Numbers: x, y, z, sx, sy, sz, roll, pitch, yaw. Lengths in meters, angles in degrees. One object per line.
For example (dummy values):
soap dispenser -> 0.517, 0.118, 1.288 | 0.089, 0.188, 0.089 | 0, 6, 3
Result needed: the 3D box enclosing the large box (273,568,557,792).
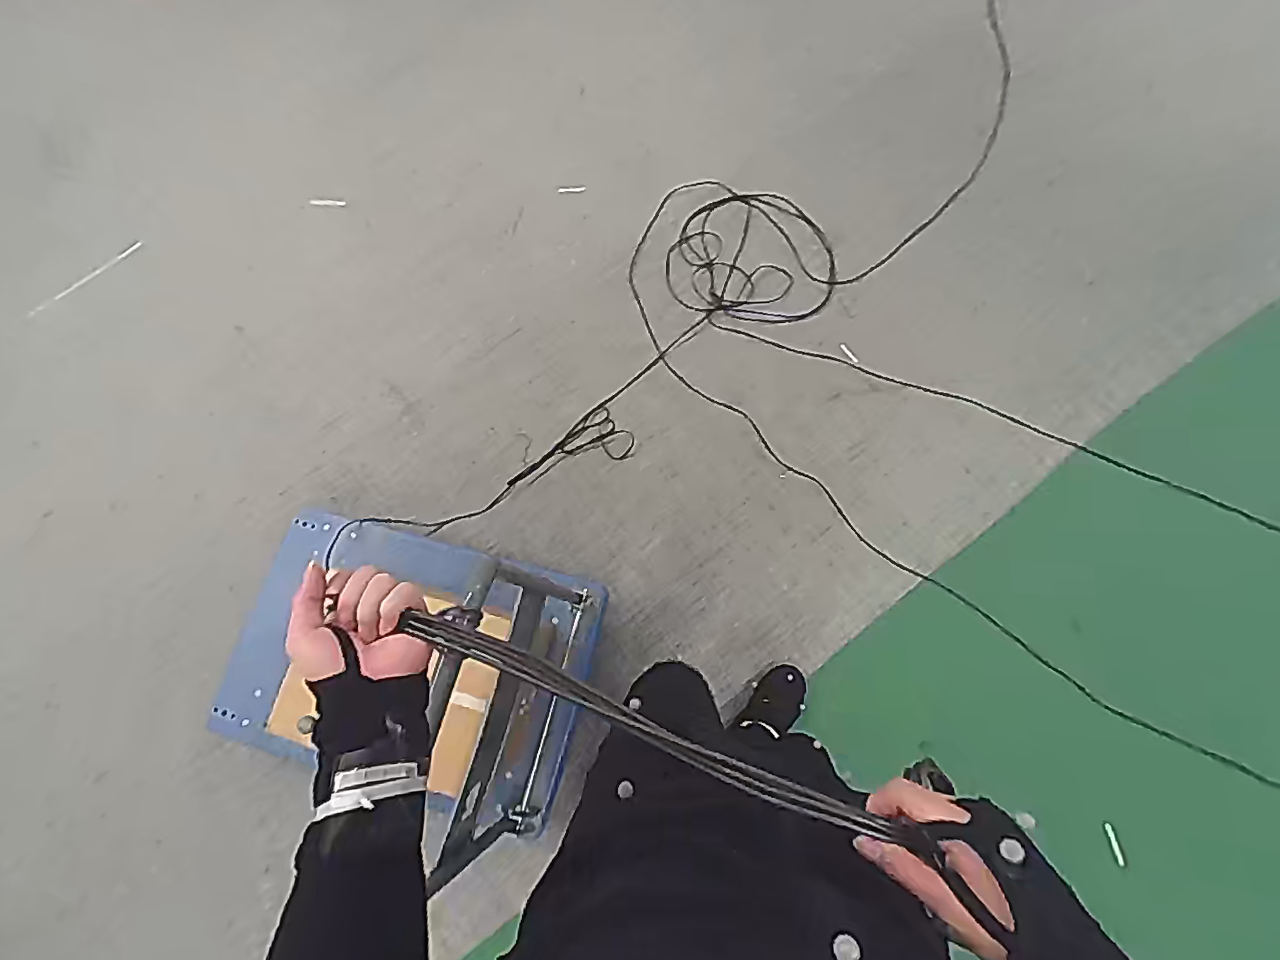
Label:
large box -> -0.434, 0.395, 1.140 | 0.408, 0.320, 0.320 | 13, 76, 9
